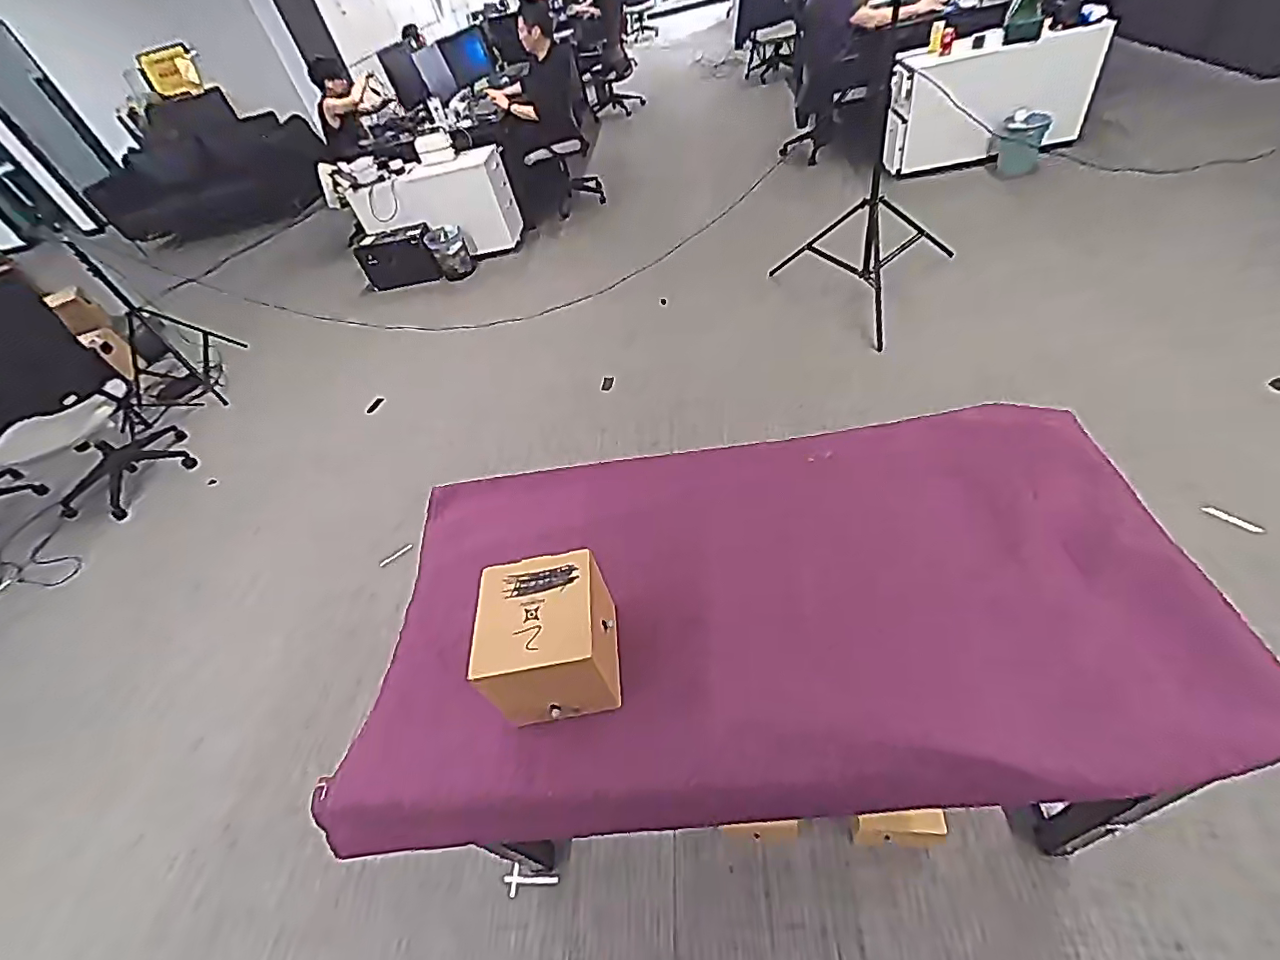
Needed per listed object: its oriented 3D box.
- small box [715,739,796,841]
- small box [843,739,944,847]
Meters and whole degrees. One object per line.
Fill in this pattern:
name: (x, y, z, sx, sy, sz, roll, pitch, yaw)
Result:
small box: (0.267, 0.720, 1.253, 0.168, 0.176, 0.179, -6, 46, 10)
small box: (0.551, 0.697, 1.200, 0.168, 0.176, 0.179, -4, 46, 12)
